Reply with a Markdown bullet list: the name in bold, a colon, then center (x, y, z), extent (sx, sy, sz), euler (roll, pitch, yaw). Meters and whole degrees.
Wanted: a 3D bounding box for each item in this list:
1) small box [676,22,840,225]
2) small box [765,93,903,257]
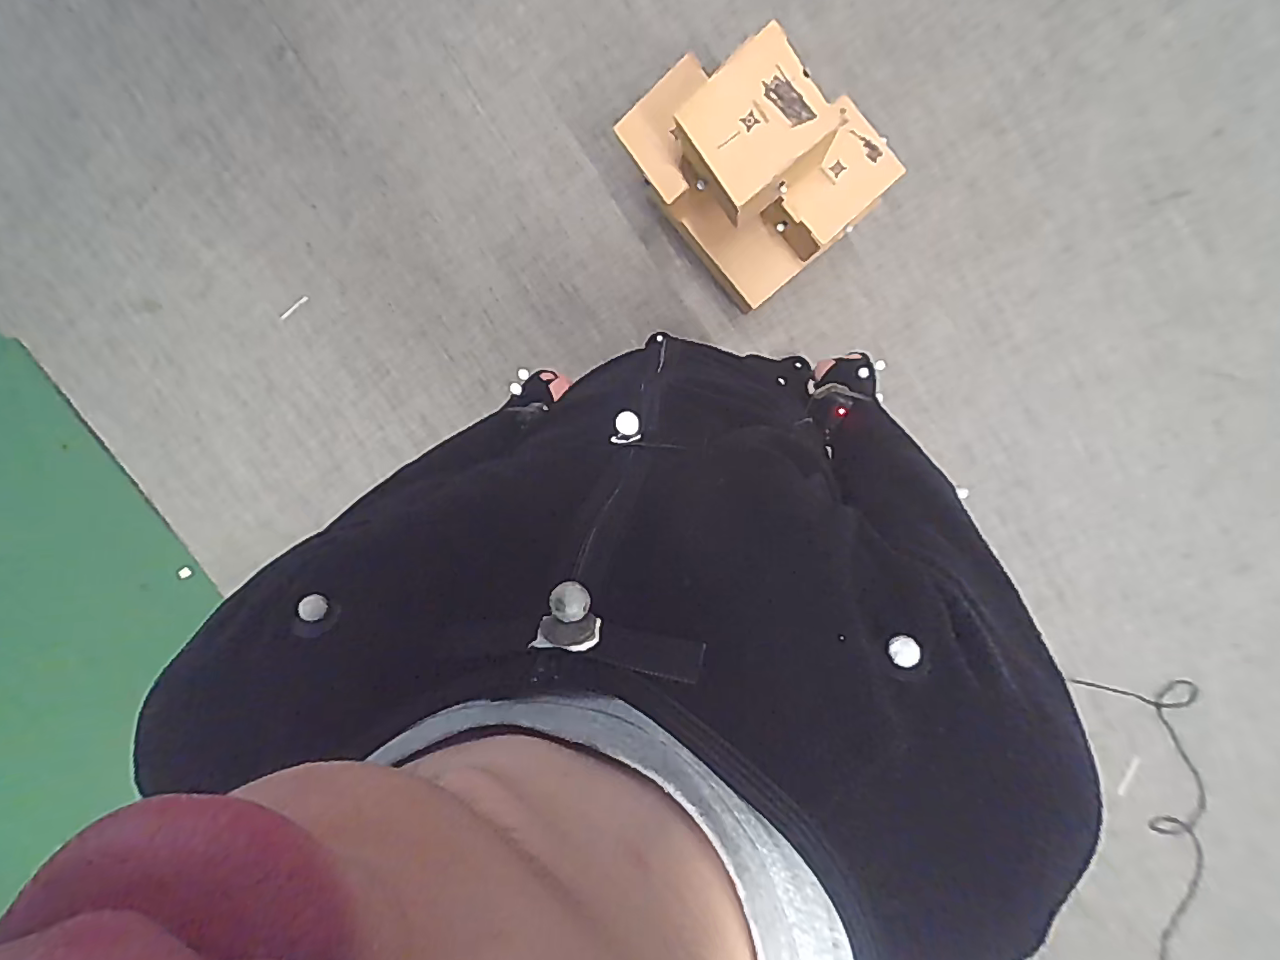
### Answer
- **small box**: center (0.177, -0.533, 0.840), extent (0.179, 0.176, 0.168), euler (-35, 96, 17)
- **small box**: center (0.335, -0.537, 0.986), extent (0.179, 0.176, 0.168), euler (-41, 94, 15)
